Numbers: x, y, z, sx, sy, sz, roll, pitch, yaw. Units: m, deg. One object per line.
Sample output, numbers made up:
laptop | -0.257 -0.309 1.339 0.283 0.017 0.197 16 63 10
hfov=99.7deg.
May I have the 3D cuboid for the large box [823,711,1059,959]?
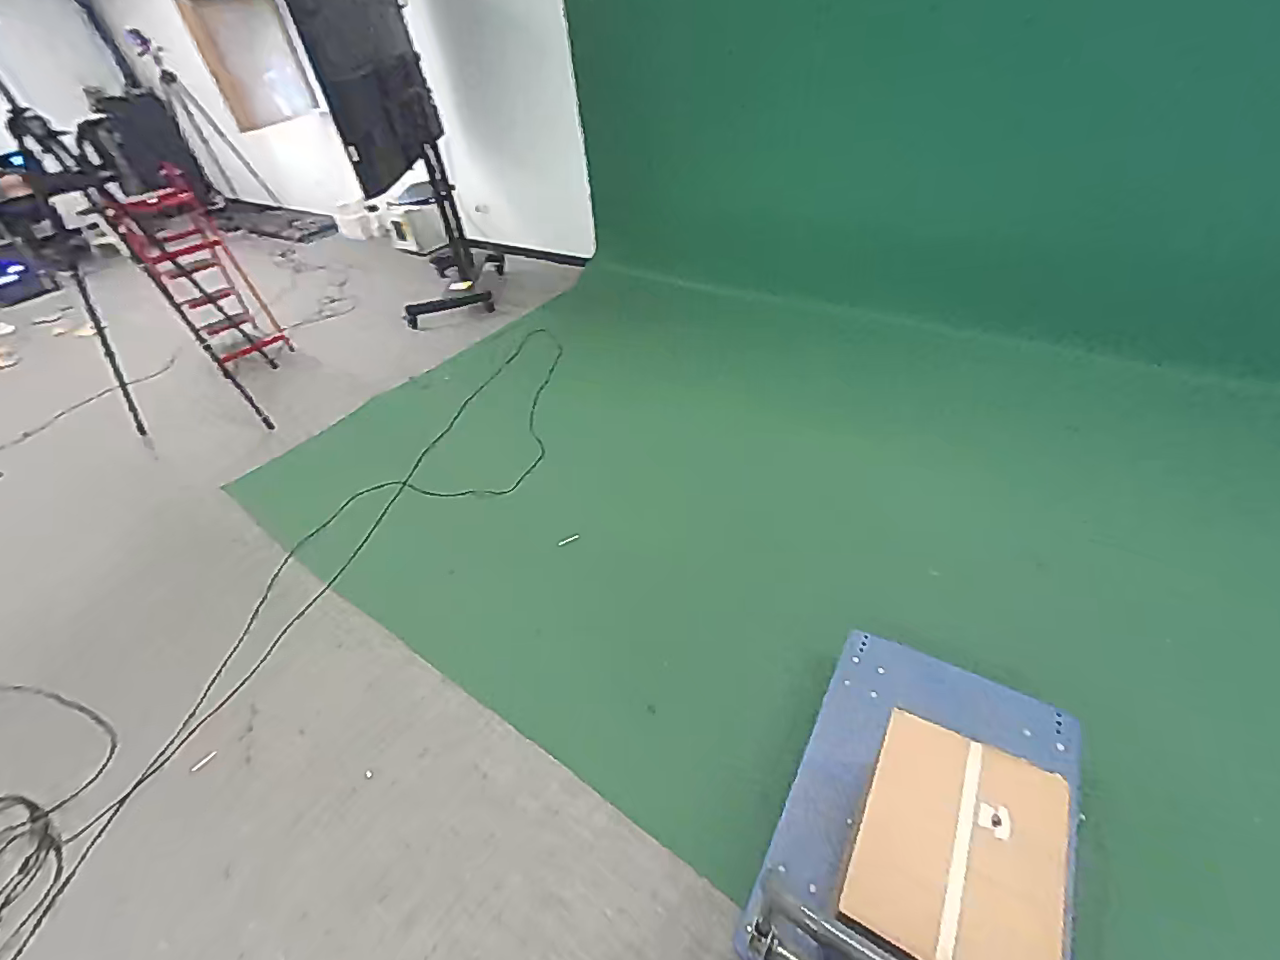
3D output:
large box | 0.581 0.765 1.067 0.320 0.320 0.408 18 47 27
